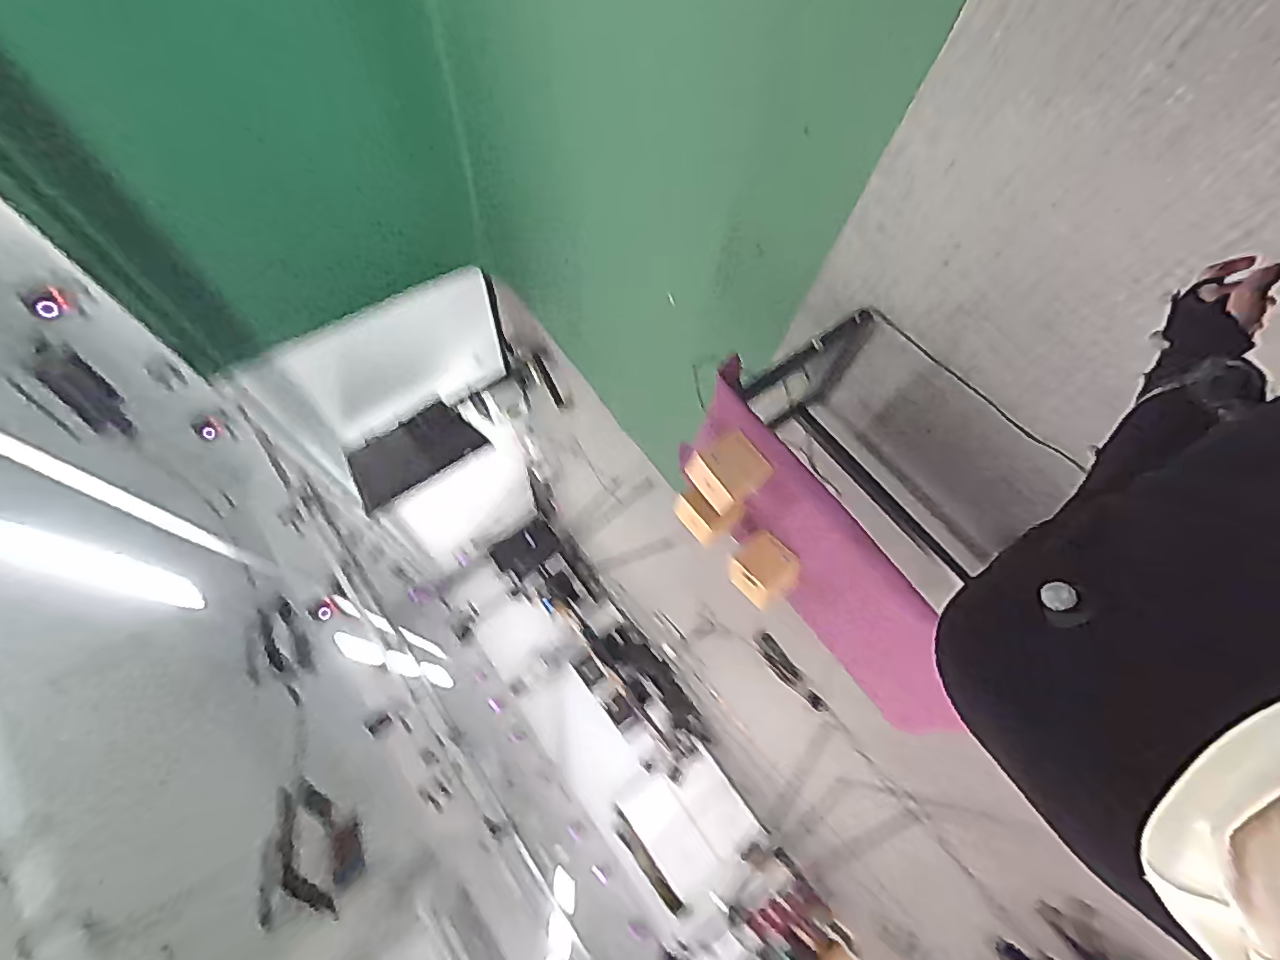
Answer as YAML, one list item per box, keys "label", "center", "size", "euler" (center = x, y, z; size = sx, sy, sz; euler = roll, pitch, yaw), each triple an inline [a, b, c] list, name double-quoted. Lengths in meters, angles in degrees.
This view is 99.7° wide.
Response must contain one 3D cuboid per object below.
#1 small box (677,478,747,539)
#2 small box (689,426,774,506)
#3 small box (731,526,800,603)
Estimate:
- label: "small box"
  center: [0.265, 0.083, 1.998]
  size: [0.179, 0.176, 0.168]
  euler: [48, 160, 20]
- label: "small box"
  center: [0.286, -0.050, 1.709]
  size: [0.179, 0.176, 0.168]
  euler: [52, 163, 11]
- label: "small box"
  center: [0.440, 0.294, 1.903]
  size: [0.168, 0.176, 0.179]
  euler: [44, 159, 33]
